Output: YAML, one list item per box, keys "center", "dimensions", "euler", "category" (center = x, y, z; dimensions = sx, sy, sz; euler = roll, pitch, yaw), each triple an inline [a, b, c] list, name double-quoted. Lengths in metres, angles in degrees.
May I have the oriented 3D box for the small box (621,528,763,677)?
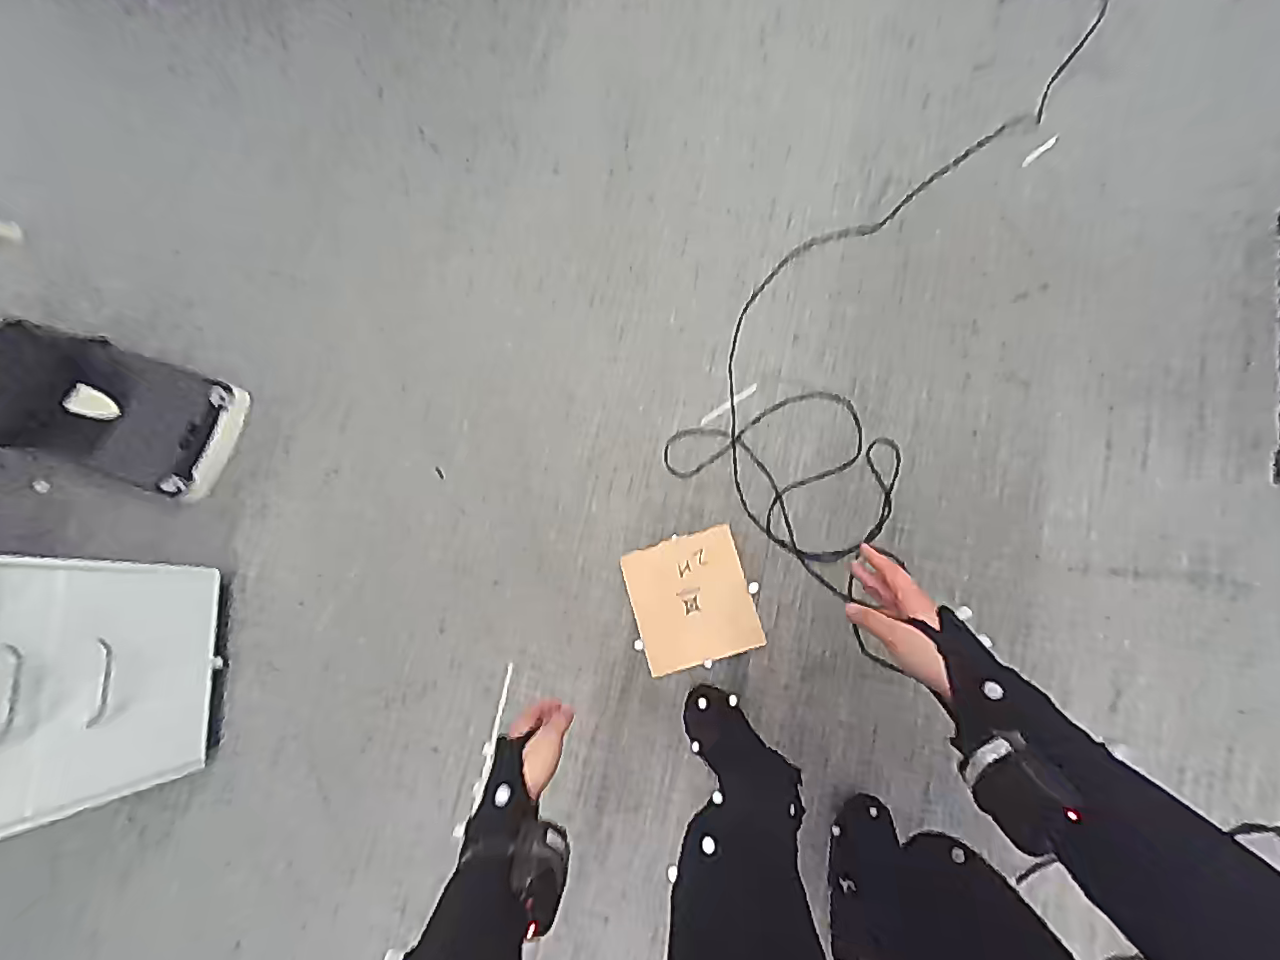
- center: [0.082, 0.188, 0.844]
  dimensions: [0.168, 0.176, 0.179]
  euler: [-17, 76, 3]
  category: "small box"
